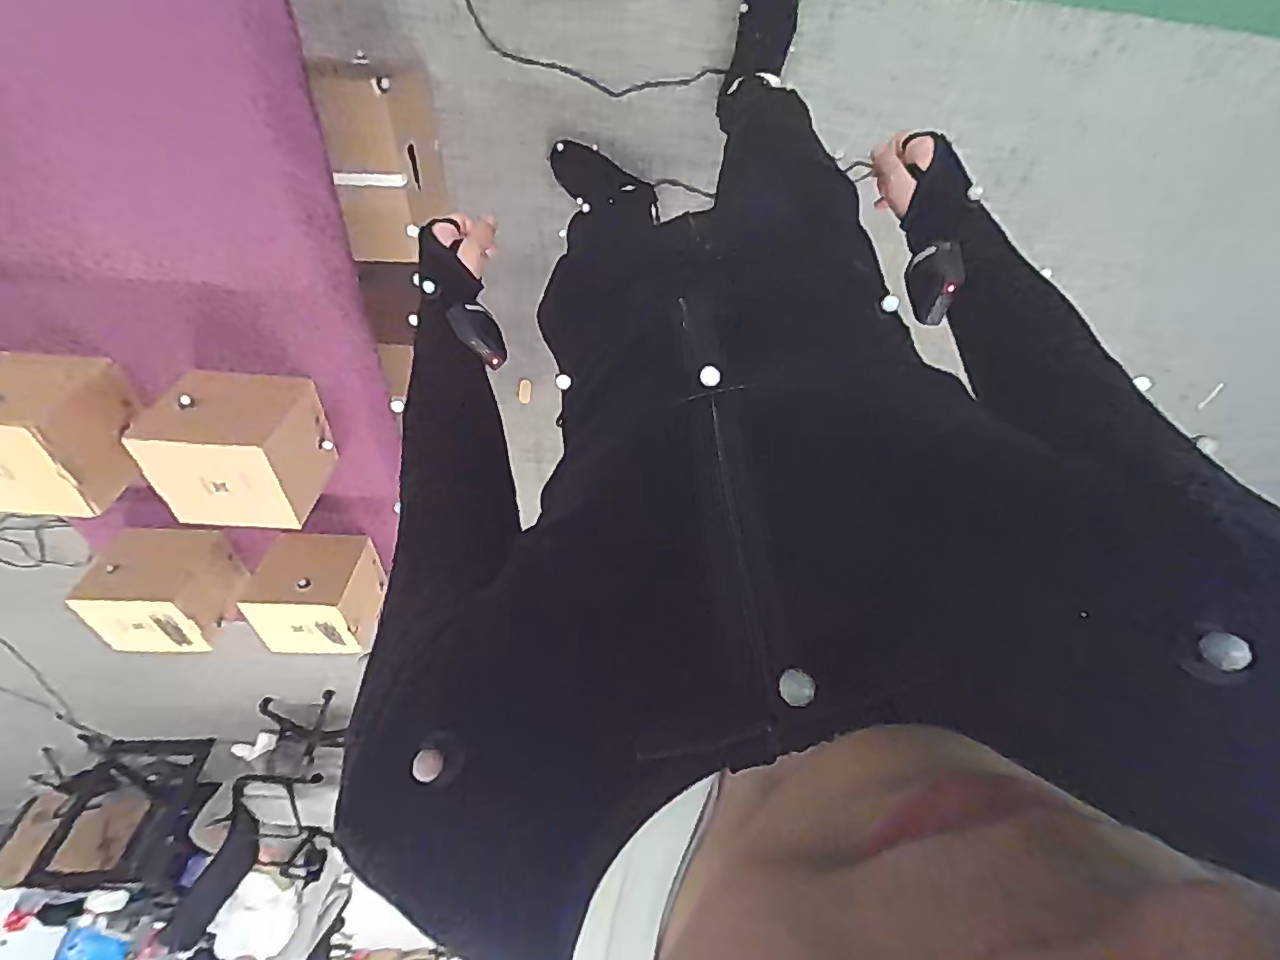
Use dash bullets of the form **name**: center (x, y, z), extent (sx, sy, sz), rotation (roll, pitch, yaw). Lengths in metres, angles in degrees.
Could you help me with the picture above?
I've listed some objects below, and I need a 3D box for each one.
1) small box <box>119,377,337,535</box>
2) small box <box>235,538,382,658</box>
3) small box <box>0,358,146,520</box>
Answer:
- **small box**: center (-0.594, -0.039, 0.811), extent (0.179, 0.176, 0.168), rotation (4, 133, -5)
- **small box**: center (-0.625, 0.228, 1.055), extent (0.179, 0.176, 0.168), rotation (3, 132, -3)
- **small box**: center (-0.867, -0.062, 0.779), extent (0.179, 0.176, 0.168), rotation (3, 132, -7)
